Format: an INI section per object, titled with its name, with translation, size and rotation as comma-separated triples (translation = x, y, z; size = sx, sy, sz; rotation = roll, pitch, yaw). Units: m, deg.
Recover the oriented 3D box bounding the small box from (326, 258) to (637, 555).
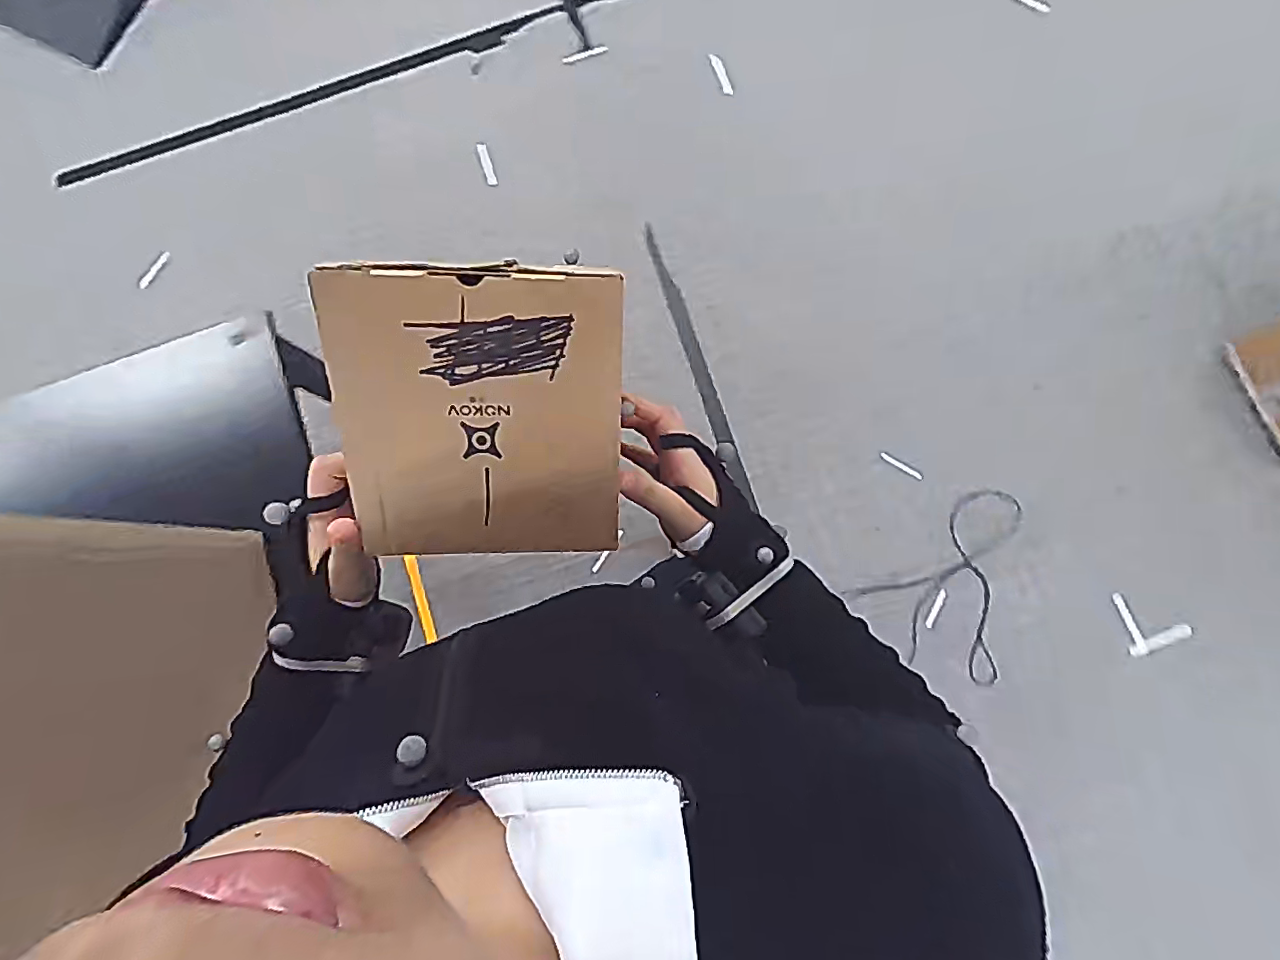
[small box]
translation = -0.093, -0.062, 0.391
size = 0.168, 0.176, 0.179
rotation = 0, 112, -5
